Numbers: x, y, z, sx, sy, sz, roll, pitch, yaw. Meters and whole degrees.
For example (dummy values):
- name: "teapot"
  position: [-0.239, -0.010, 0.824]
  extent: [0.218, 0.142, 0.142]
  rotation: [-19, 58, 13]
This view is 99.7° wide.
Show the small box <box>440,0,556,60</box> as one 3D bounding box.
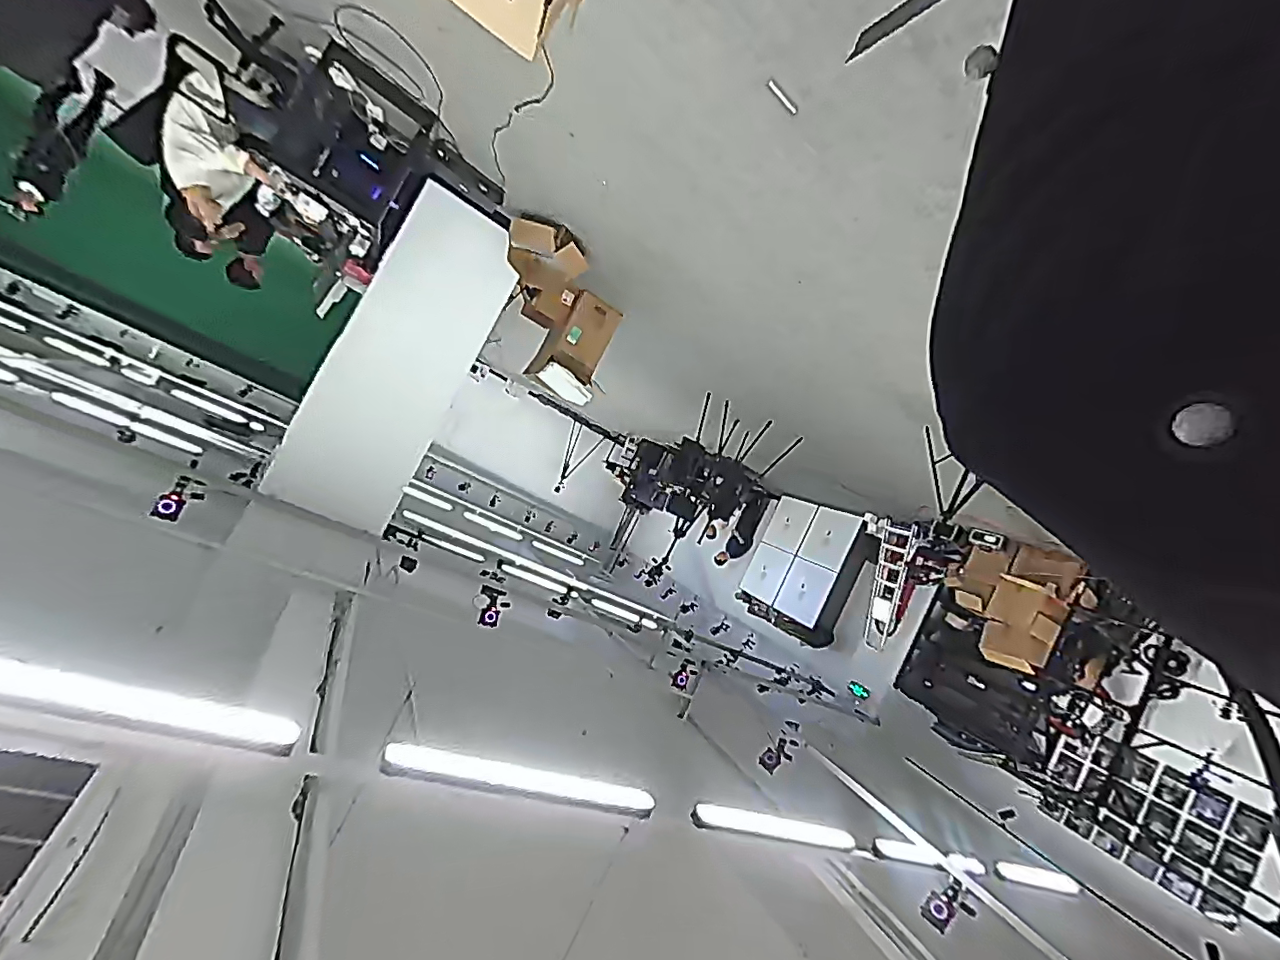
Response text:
- name: "small box"
  position: [-0.097, -0.437, 0.334]
  extent: [0.179, 0.176, 0.168]
  rotation: [28, 176, -20]
